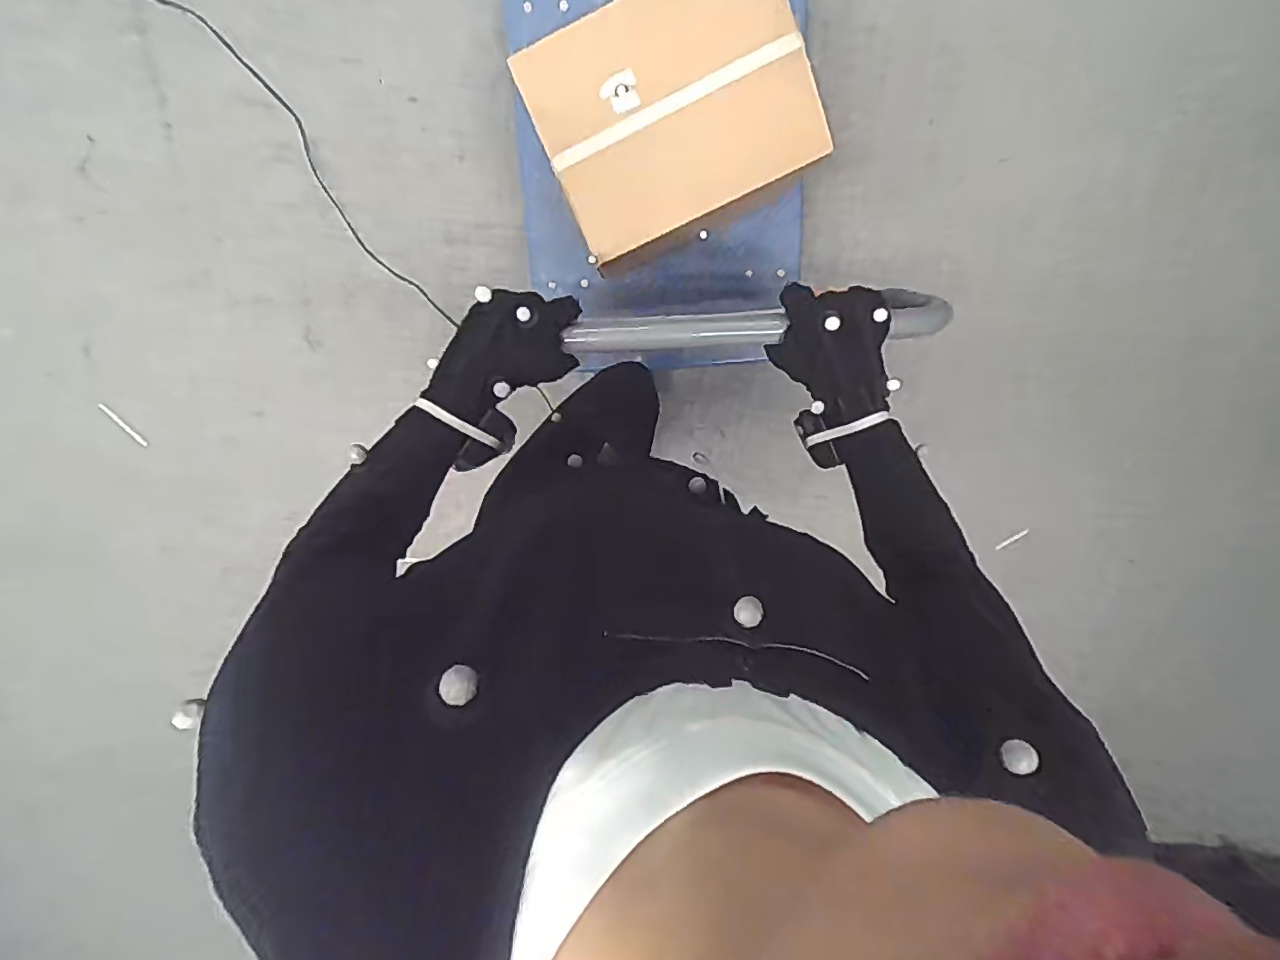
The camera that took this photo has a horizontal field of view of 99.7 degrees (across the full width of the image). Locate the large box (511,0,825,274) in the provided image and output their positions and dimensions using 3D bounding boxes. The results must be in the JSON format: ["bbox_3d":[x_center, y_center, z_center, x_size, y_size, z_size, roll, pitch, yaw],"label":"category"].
[{"bbox_3d":[0.047,-0.610,0.962,0.408,0.320,0.320,-24,104,7],"label":"large box"}]
